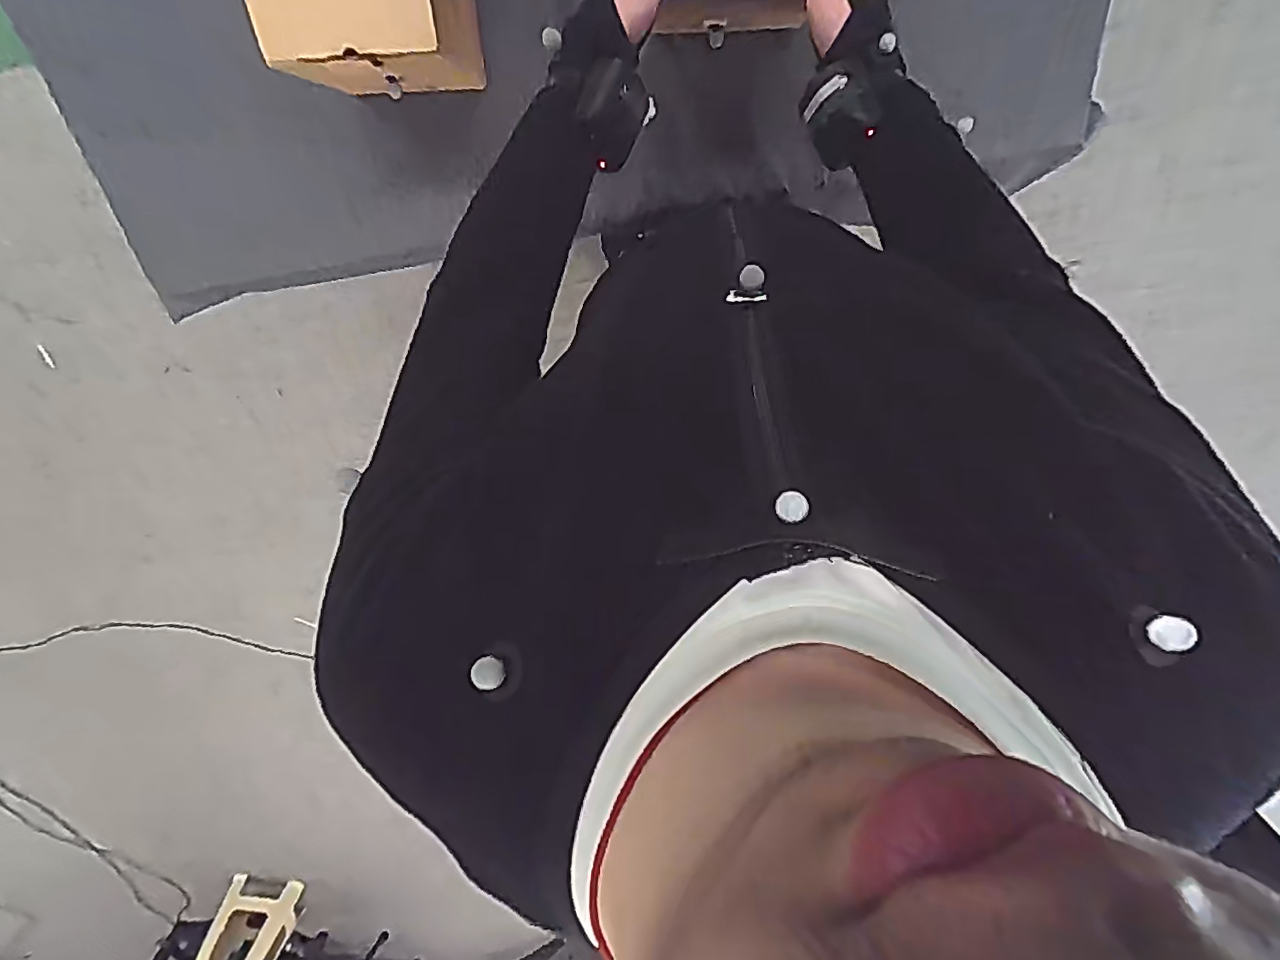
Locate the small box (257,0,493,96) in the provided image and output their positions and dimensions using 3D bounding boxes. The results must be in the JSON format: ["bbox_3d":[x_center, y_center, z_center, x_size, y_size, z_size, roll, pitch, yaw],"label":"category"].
[{"bbox_3d":[-0.258,-0.498,0.533,0.168,0.176,0.179,-3,117,5],"label":"small box"}]

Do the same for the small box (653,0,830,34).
[{"bbox_3d":[0.091,-0.518,0.469,0.168,0.176,0.179,2,121,5],"label":"small box"}]
